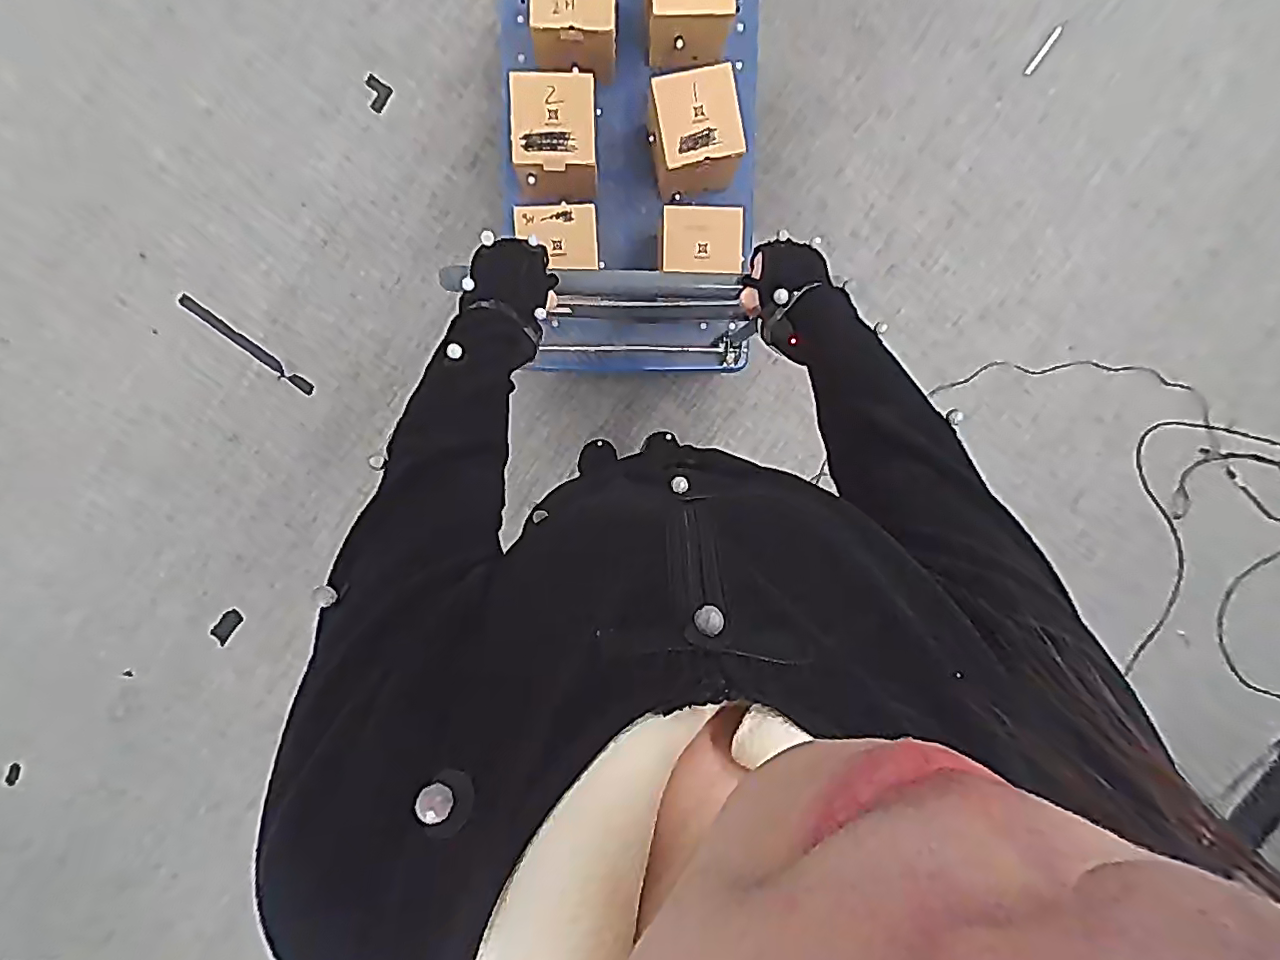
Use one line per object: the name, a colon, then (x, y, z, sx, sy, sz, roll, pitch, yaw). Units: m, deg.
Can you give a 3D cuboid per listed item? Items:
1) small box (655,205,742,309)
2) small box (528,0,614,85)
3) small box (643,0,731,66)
small box: (0.123, -0.482, 1.195, 0.168, 0.176, 0.179, 0, 96, -3)
small box: (-0.138, -0.971, 1.126, 0.168, 0.176, 0.179, 2, 97, -3)
small box: (0.094, -1.009, 1.134, 0.168, 0.176, 0.179, -3, 96, -2)
